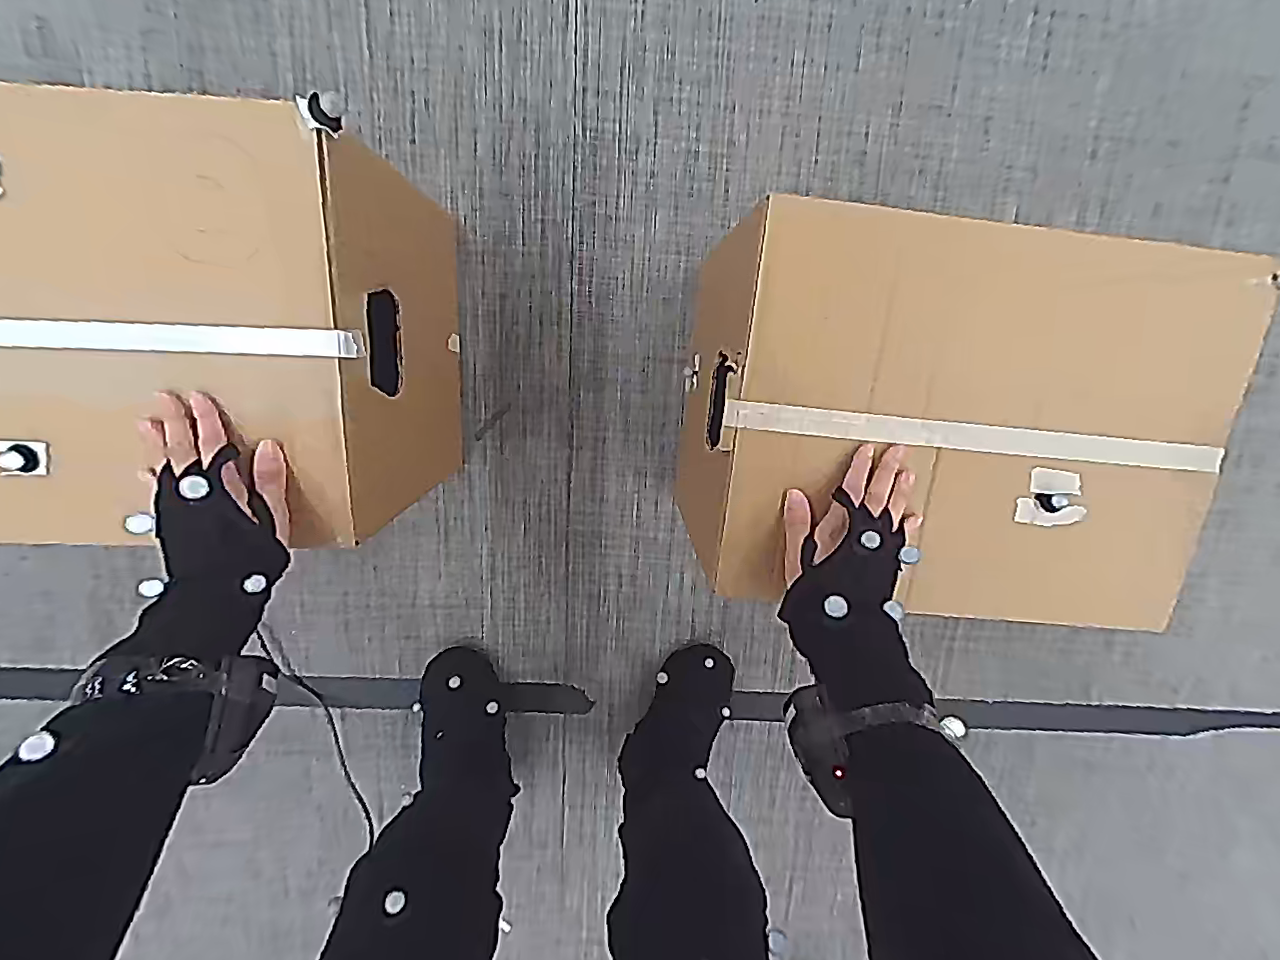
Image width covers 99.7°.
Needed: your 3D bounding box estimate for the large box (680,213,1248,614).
[{"bbox_3d":[0.271,-0.070,0.595,0.408,0.320,0.320,5,103,-5],"label":"large box"}]
